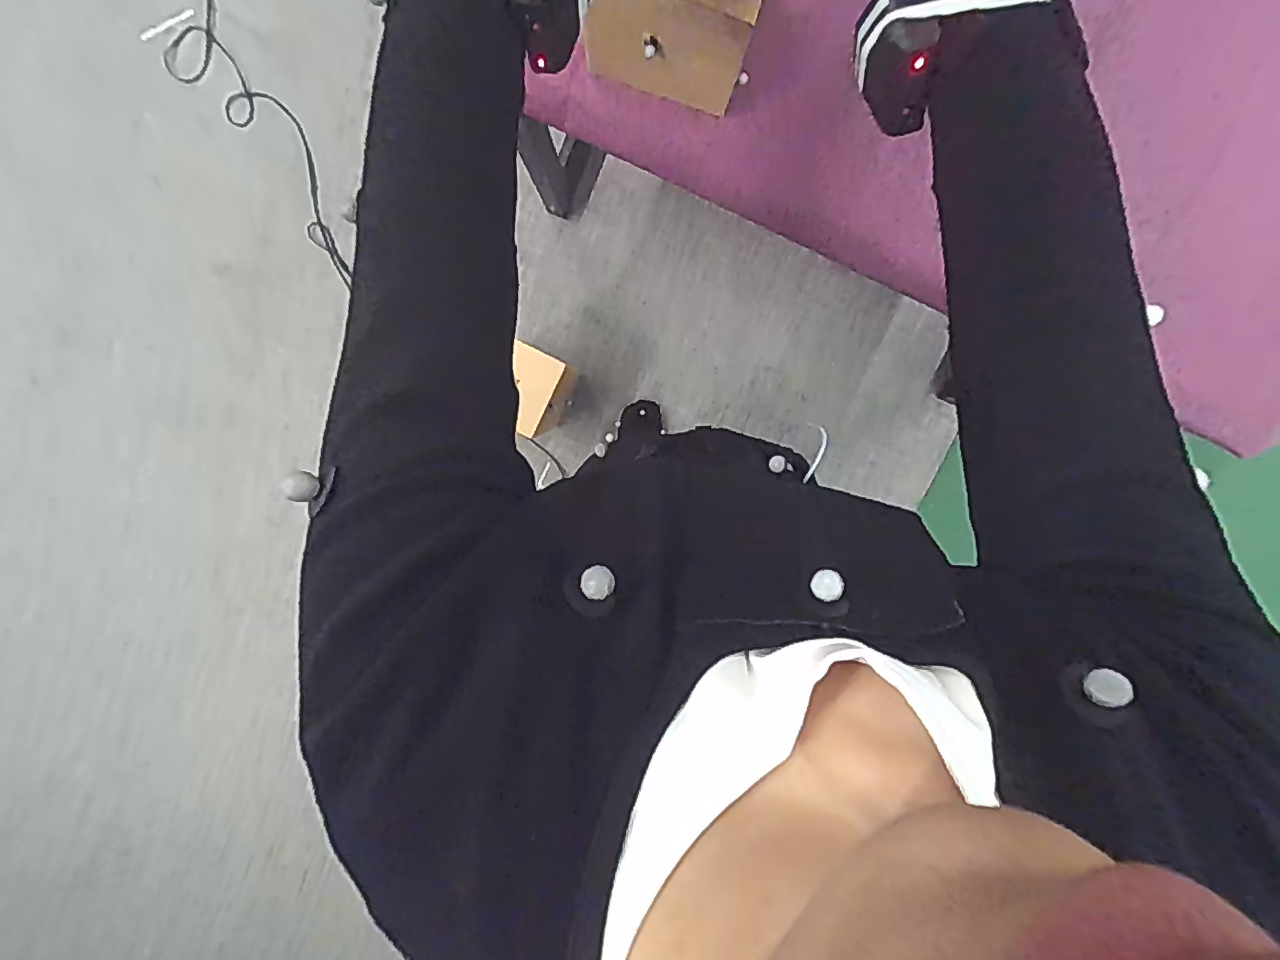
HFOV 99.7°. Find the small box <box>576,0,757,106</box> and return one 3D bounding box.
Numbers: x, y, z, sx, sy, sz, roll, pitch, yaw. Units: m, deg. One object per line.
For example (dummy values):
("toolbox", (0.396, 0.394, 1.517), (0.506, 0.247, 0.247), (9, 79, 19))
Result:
("small box", (0.040, -0.540, 0.572), (0.179, 0.176, 0.168), (17, 98, -4))
